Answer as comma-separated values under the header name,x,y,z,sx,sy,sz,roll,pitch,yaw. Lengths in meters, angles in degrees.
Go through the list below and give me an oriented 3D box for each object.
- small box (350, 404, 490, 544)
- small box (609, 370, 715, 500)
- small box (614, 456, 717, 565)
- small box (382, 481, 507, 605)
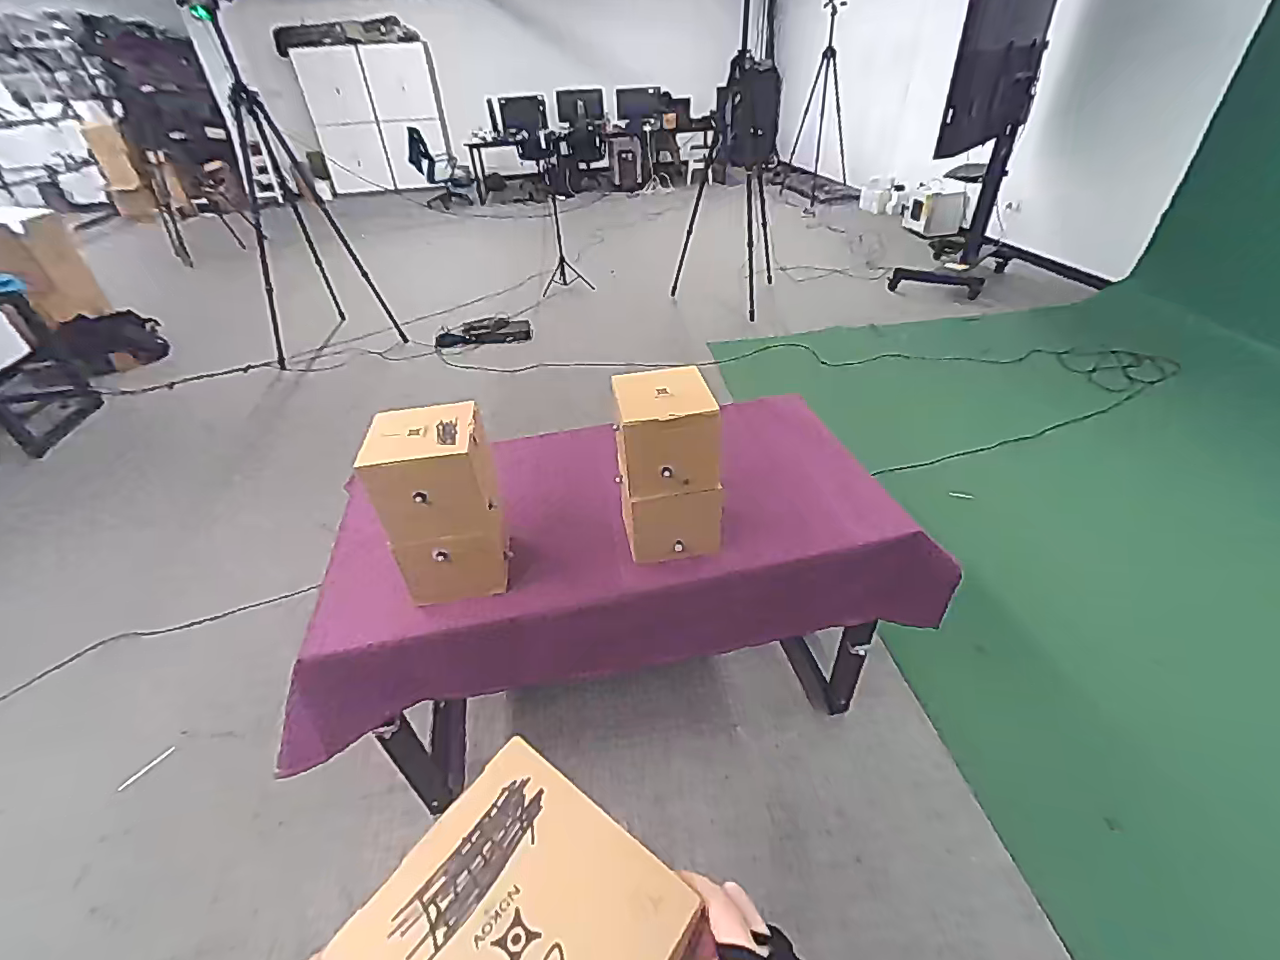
name,x,y,z,sx,sy,sz,roll,pitch,yaw
small box,-0.366,-0.010,0.942,0.179,0.176,0.168,-9,39,-6
small box,0.035,-0.085,1.010,0.168,0.176,0.179,-8,39,-6
small box,0.047,0.050,1.101,0.179,0.176,0.168,-8,37,-7
small box,-0.364,0.122,1.040,0.179,0.176,0.168,-7,38,-6
